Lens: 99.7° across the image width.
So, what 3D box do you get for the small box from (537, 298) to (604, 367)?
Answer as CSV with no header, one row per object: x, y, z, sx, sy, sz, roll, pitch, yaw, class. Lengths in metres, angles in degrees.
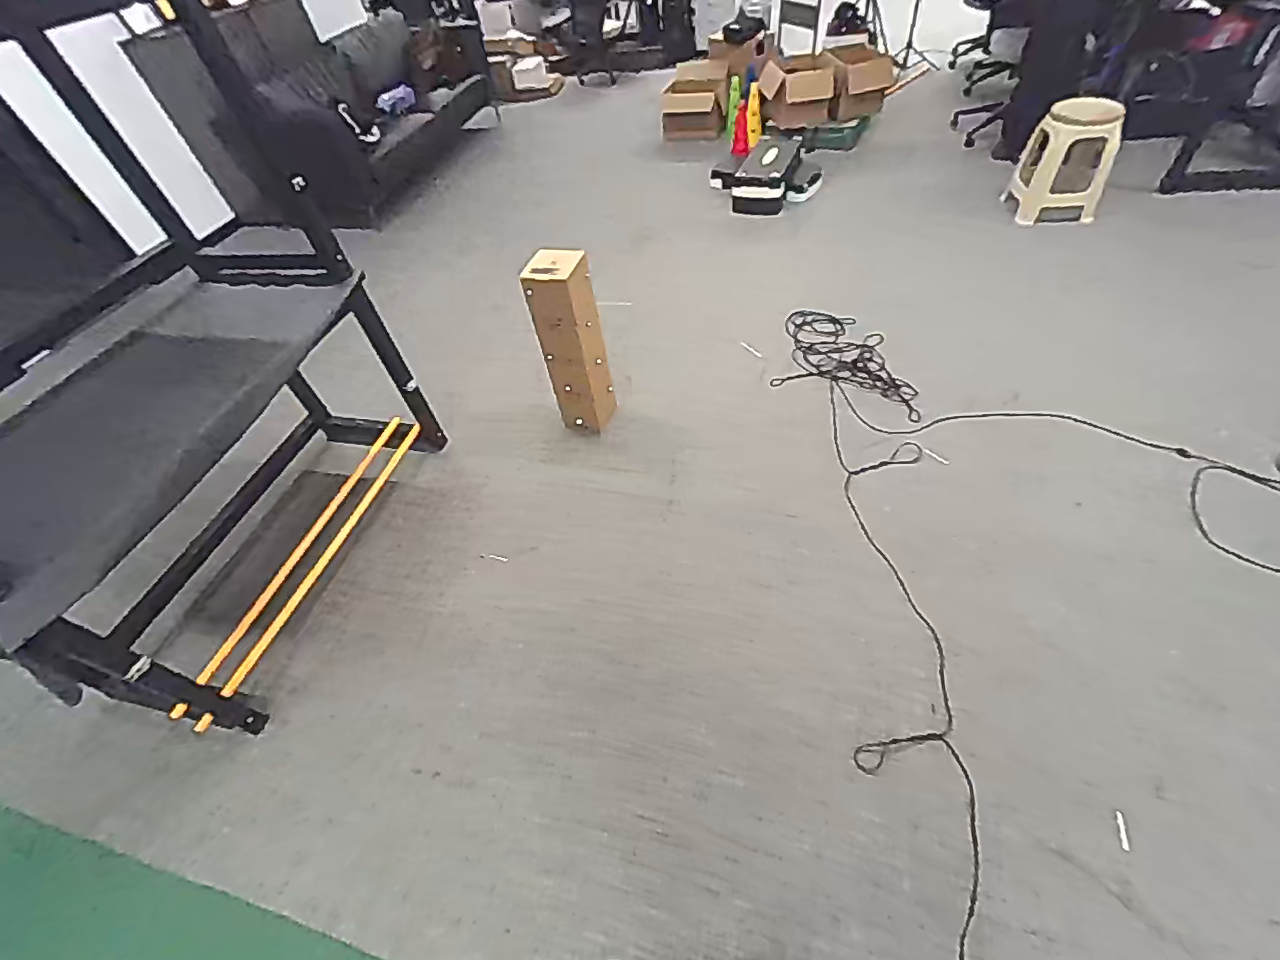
-0.239,-0.521,1.918,0.168,0.176,0.179,10,52,17,small box

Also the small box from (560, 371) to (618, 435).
-0.197,-0.309,2.162,0.168,0.176,0.179,11,53,19,small box
